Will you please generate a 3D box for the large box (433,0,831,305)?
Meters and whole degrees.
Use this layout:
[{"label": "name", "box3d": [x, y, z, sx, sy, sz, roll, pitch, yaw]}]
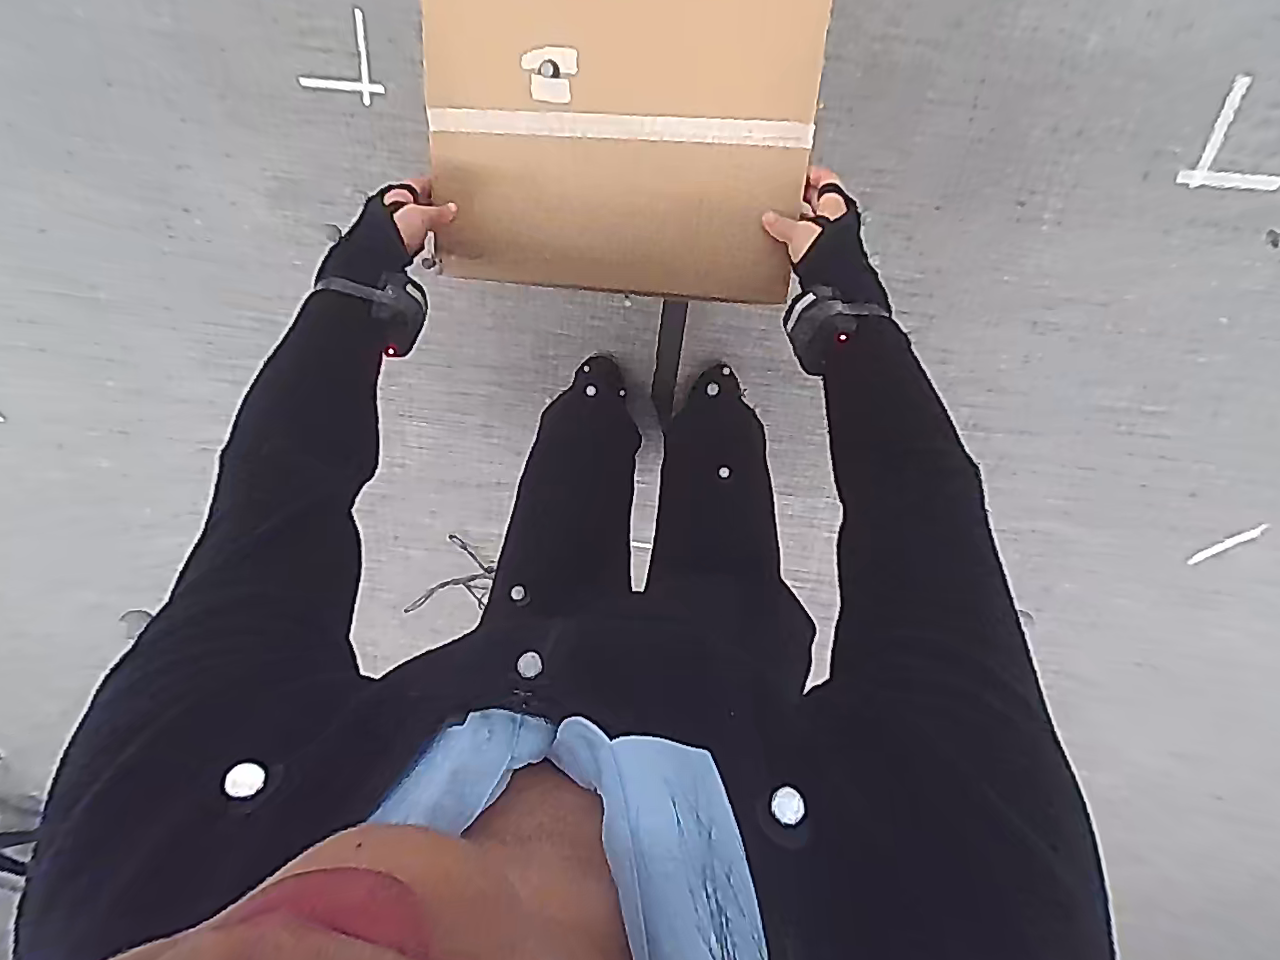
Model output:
[{"label": "large box", "box3d": [0.002, -0.399, 0.701, 0.408, 0.320, 0.320, 7, 107, 8]}]
